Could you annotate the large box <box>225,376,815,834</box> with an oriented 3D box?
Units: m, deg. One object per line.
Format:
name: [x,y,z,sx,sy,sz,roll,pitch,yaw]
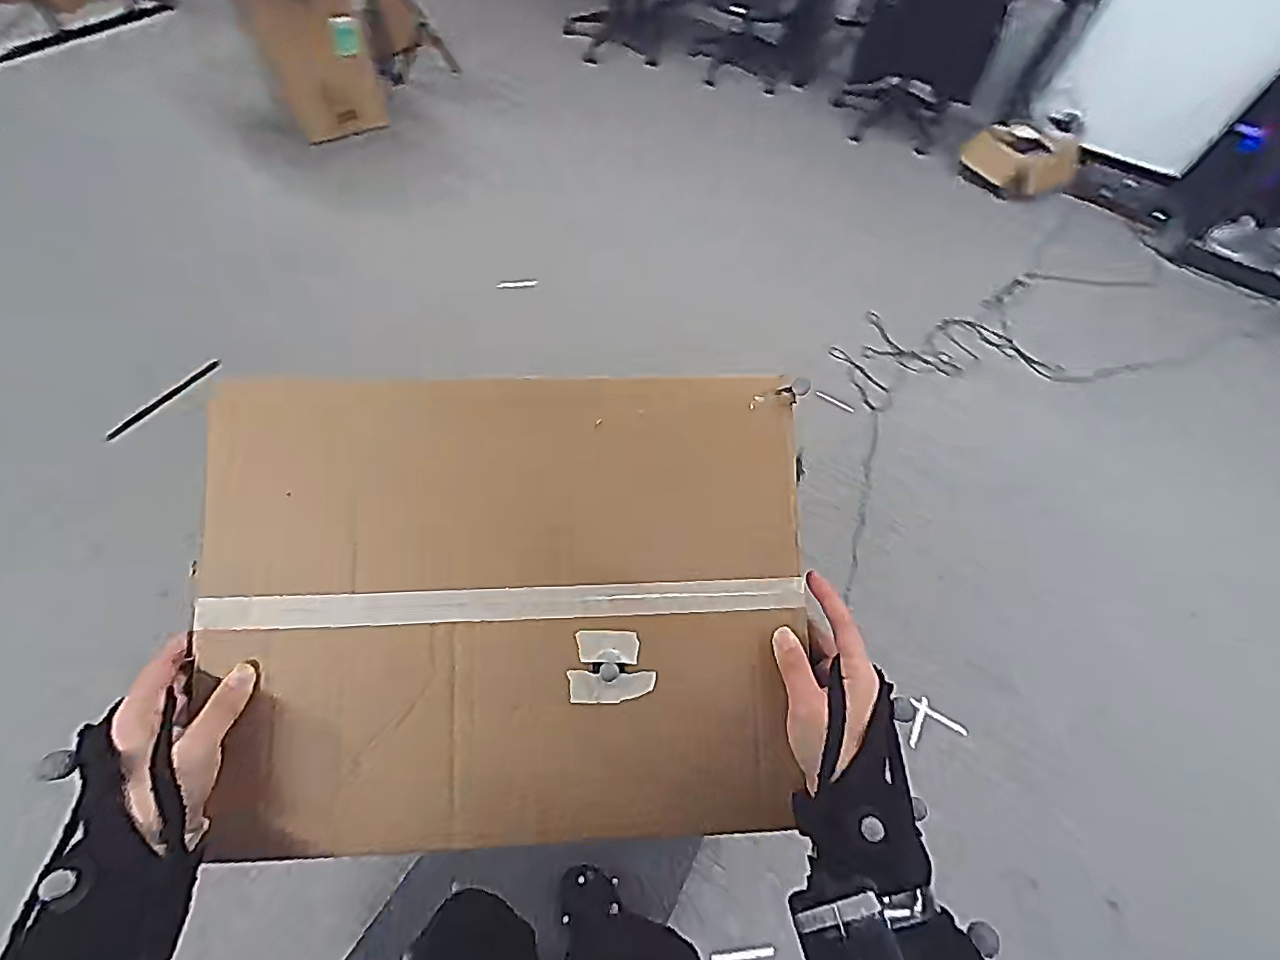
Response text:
large box: [-0.088,0.094,0.529,0.408,0.320,0.320,0,85,-3]
